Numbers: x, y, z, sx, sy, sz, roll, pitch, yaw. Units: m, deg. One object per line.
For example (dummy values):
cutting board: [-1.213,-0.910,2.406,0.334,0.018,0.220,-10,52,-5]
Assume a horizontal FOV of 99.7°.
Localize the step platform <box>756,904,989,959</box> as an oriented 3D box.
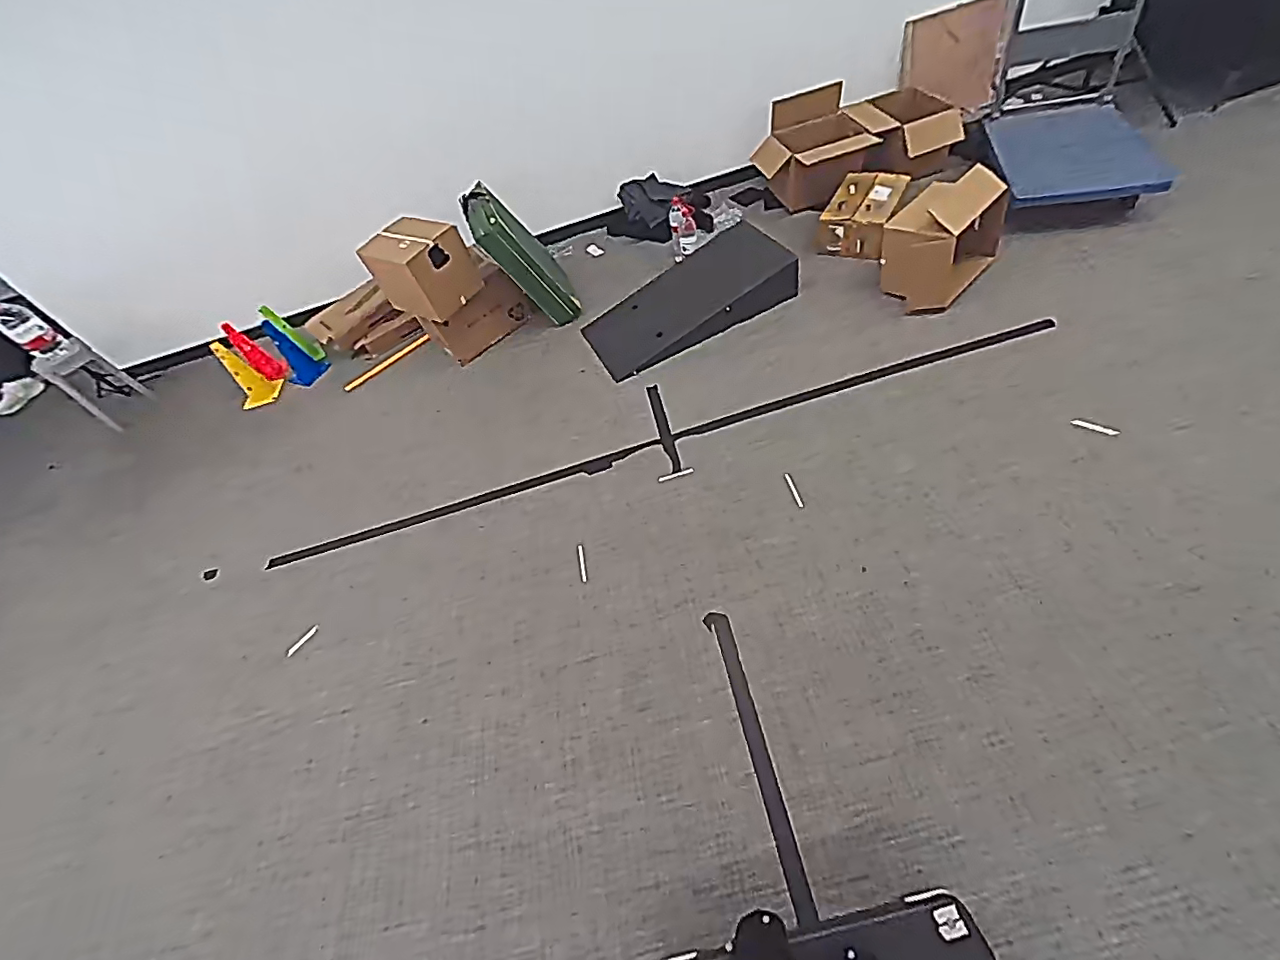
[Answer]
step platform: [0.369,1.083,1.052,0.684,0.204,0.286,-17,51,1]
